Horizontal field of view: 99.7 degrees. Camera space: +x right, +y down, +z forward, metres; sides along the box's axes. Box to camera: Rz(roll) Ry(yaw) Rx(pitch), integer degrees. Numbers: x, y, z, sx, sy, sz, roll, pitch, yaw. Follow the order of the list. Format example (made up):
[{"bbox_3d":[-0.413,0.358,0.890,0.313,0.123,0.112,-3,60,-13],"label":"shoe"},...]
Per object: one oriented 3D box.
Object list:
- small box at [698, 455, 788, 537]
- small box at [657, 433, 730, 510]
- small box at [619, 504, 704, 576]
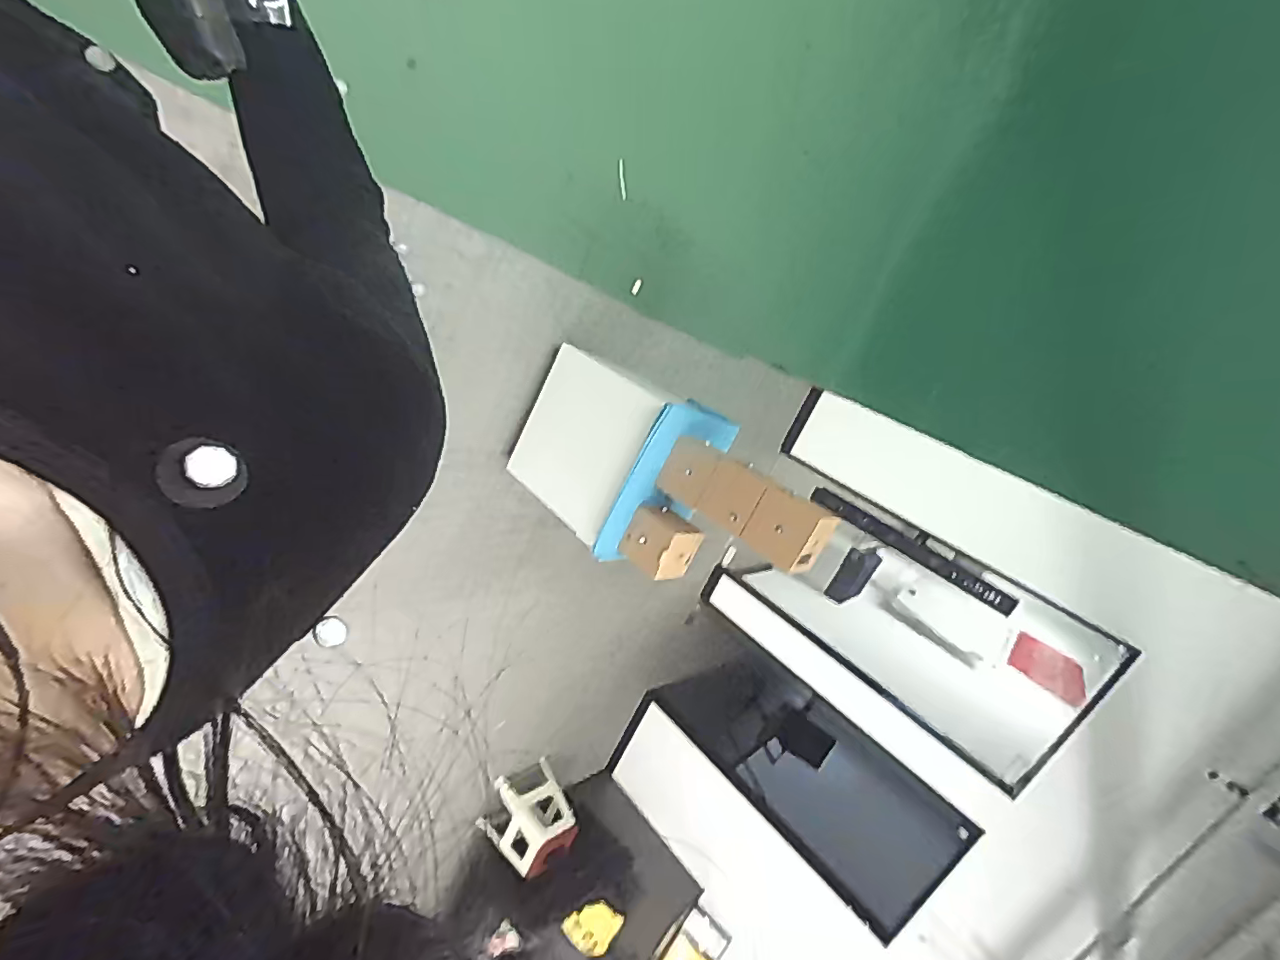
[{"bbox_3d":[0.293,0.049,1.580,0.168,0.176,0.179,6,114,-54],"label":"small box"},{"bbox_3d":[0.178,-0.023,1.673,0.168,0.176,0.179,6,114,-54],"label":"small box"},{"bbox_3d":[0.064,0.187,1.717,0.179,0.176,0.168,7,113,-53],"label":"small box"}]
